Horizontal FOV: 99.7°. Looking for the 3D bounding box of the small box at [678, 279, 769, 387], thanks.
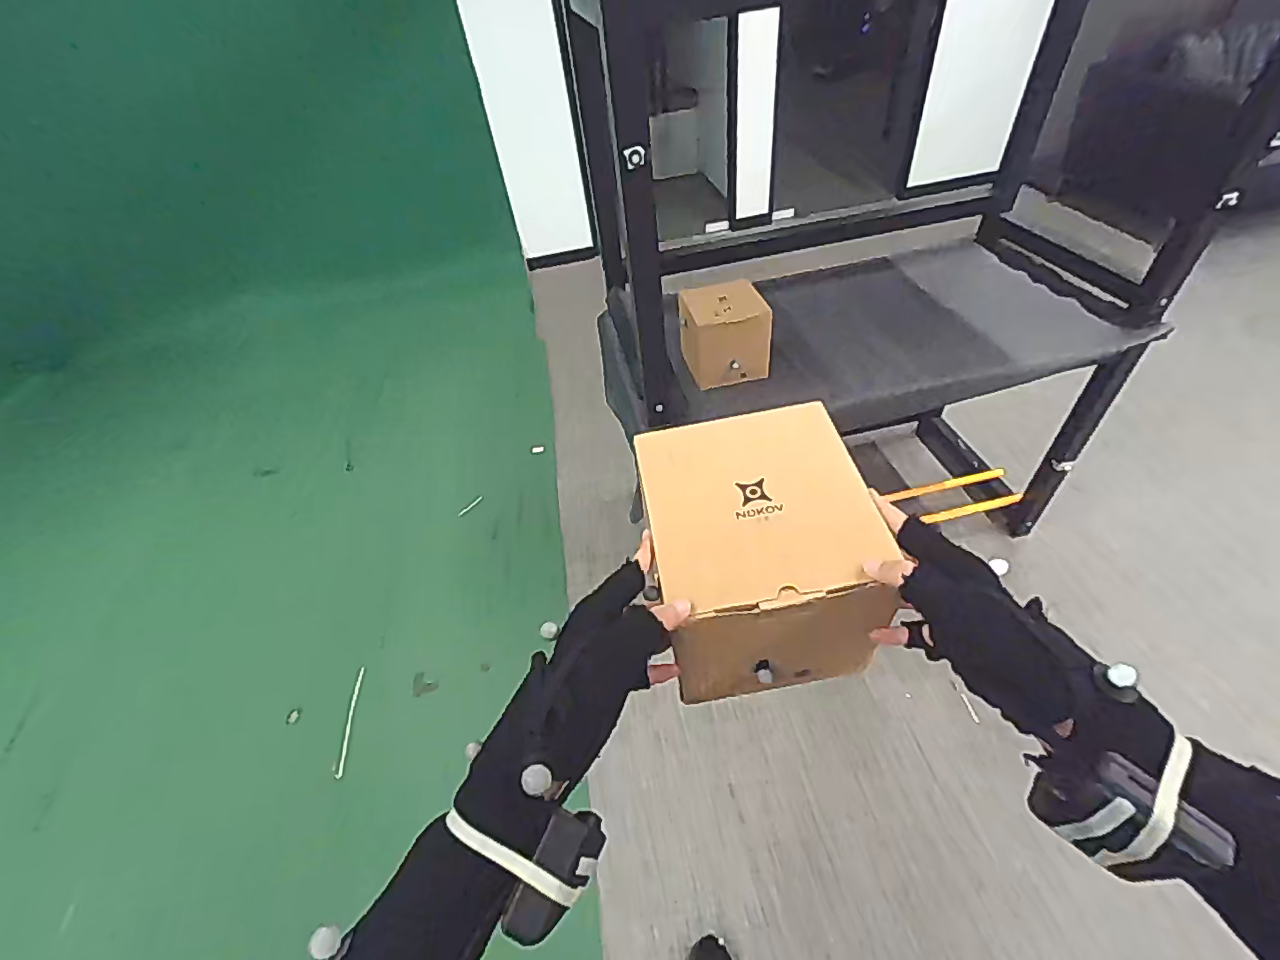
[{"bbox_3d":[0.189,-0.340,1.255,0.168,0.176,0.179,-12,44,-3],"label":"small box"}]
